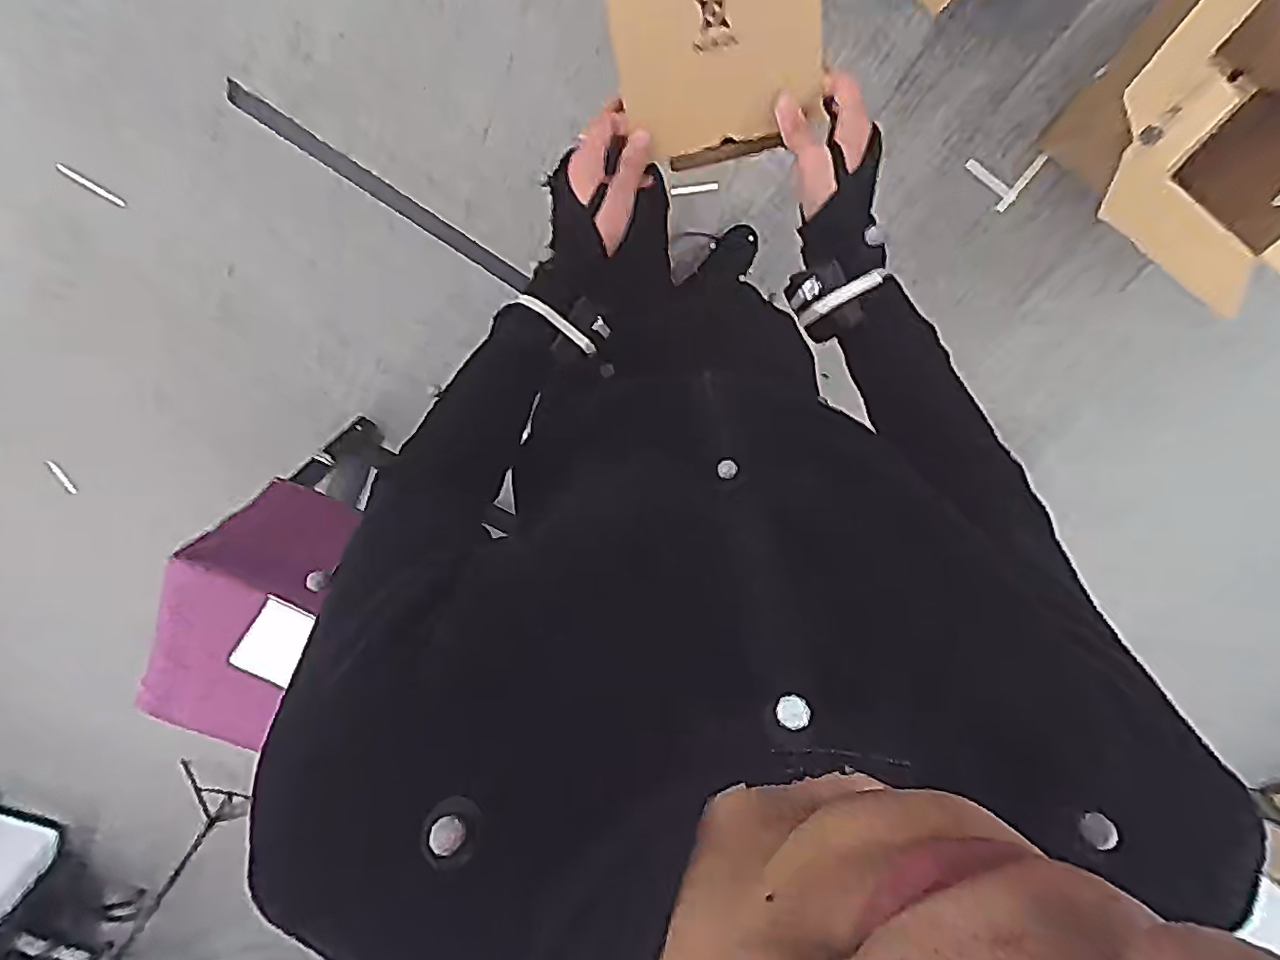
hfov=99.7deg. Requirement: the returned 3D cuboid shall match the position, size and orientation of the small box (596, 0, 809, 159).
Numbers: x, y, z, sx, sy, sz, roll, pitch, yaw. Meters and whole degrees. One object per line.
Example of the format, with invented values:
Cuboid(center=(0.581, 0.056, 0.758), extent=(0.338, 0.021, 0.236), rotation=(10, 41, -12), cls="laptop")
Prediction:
Cuboid(center=(0.049, -0.417, 0.487), extent=(0.168, 0.176, 0.179), rotation=(-11, 127, 6), cls="small box")
